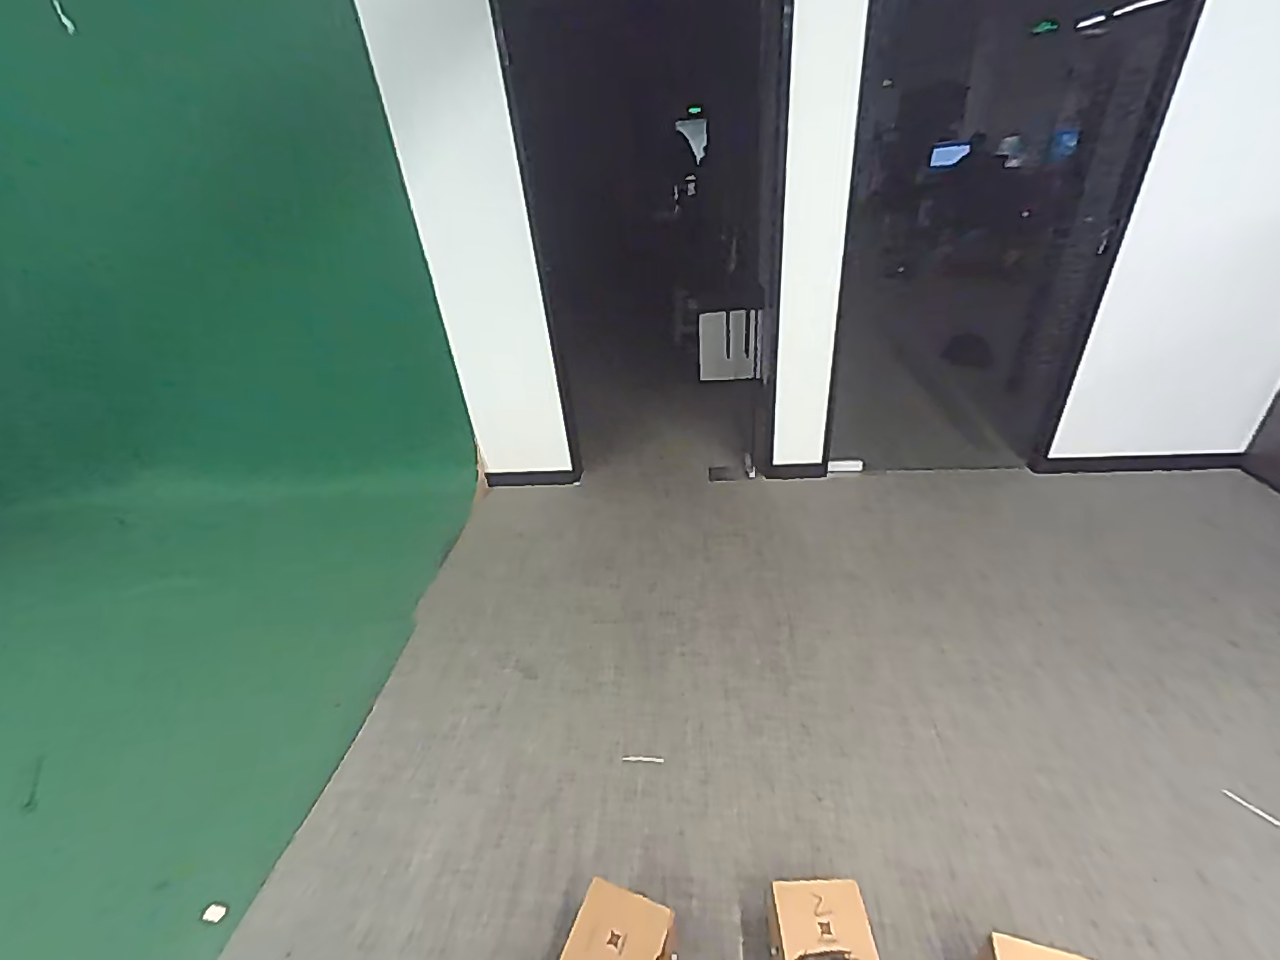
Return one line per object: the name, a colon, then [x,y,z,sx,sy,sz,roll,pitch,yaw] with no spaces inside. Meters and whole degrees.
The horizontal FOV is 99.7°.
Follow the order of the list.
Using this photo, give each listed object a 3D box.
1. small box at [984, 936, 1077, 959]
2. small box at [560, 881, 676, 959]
small box: [0.684,0.926,0.906,0.168,0.176,0.179,5,33,17]
small box: [-0.038,0.921,1.028,0.179,0.176,0.168,7,32,22]
